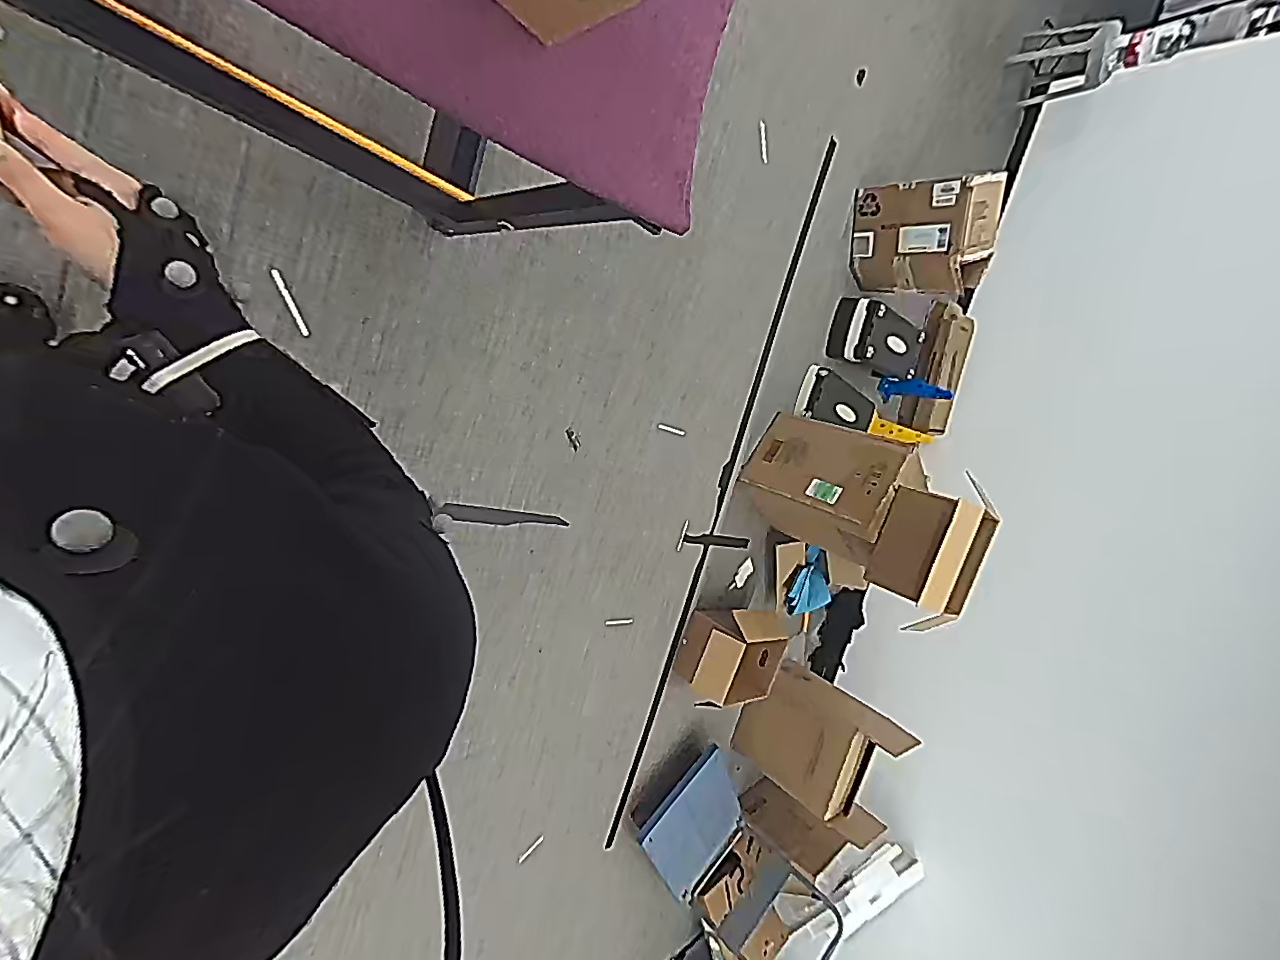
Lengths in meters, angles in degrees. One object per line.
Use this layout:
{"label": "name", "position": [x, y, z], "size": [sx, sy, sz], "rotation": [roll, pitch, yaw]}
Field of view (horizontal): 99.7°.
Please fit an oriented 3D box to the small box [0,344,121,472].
{"label": "small box", "position": [-0.974, -0.119, 0.866], "size": [0.179, 0.176, 0.168], "rotation": [12, 96, -49]}
